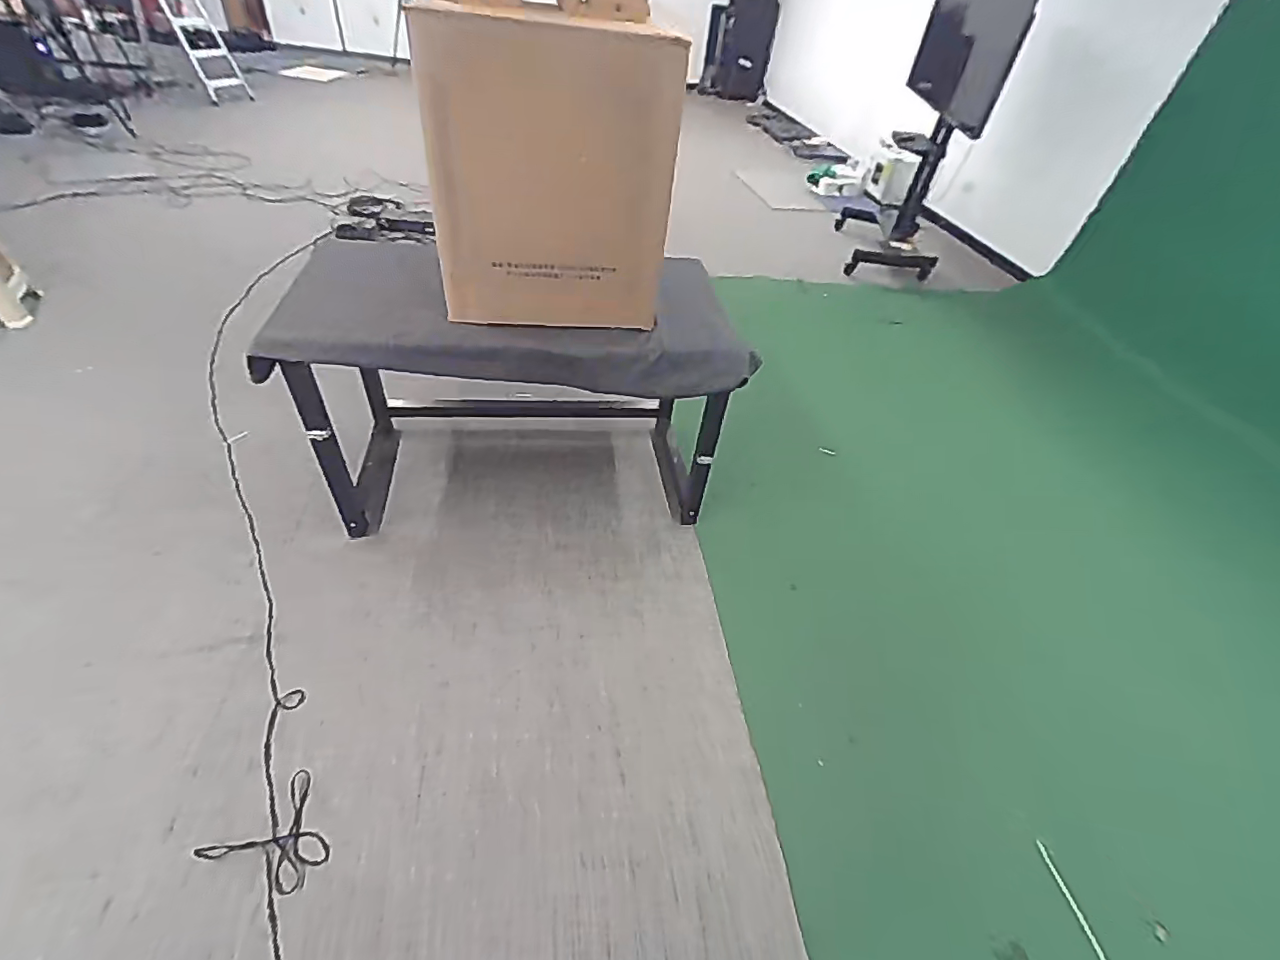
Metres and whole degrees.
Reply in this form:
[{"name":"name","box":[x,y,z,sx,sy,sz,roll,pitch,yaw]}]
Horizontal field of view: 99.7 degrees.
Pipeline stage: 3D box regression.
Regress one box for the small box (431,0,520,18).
[{"name":"small box","box":[-0.322,-1.009,1.031,0.168,0.176,0.179,-4,48,-9]}]

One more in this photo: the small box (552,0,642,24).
[{"name":"small box","box":[-0.087,-1.035,1.083,0.168,0.176,0.179,-6,46,-14]}]
